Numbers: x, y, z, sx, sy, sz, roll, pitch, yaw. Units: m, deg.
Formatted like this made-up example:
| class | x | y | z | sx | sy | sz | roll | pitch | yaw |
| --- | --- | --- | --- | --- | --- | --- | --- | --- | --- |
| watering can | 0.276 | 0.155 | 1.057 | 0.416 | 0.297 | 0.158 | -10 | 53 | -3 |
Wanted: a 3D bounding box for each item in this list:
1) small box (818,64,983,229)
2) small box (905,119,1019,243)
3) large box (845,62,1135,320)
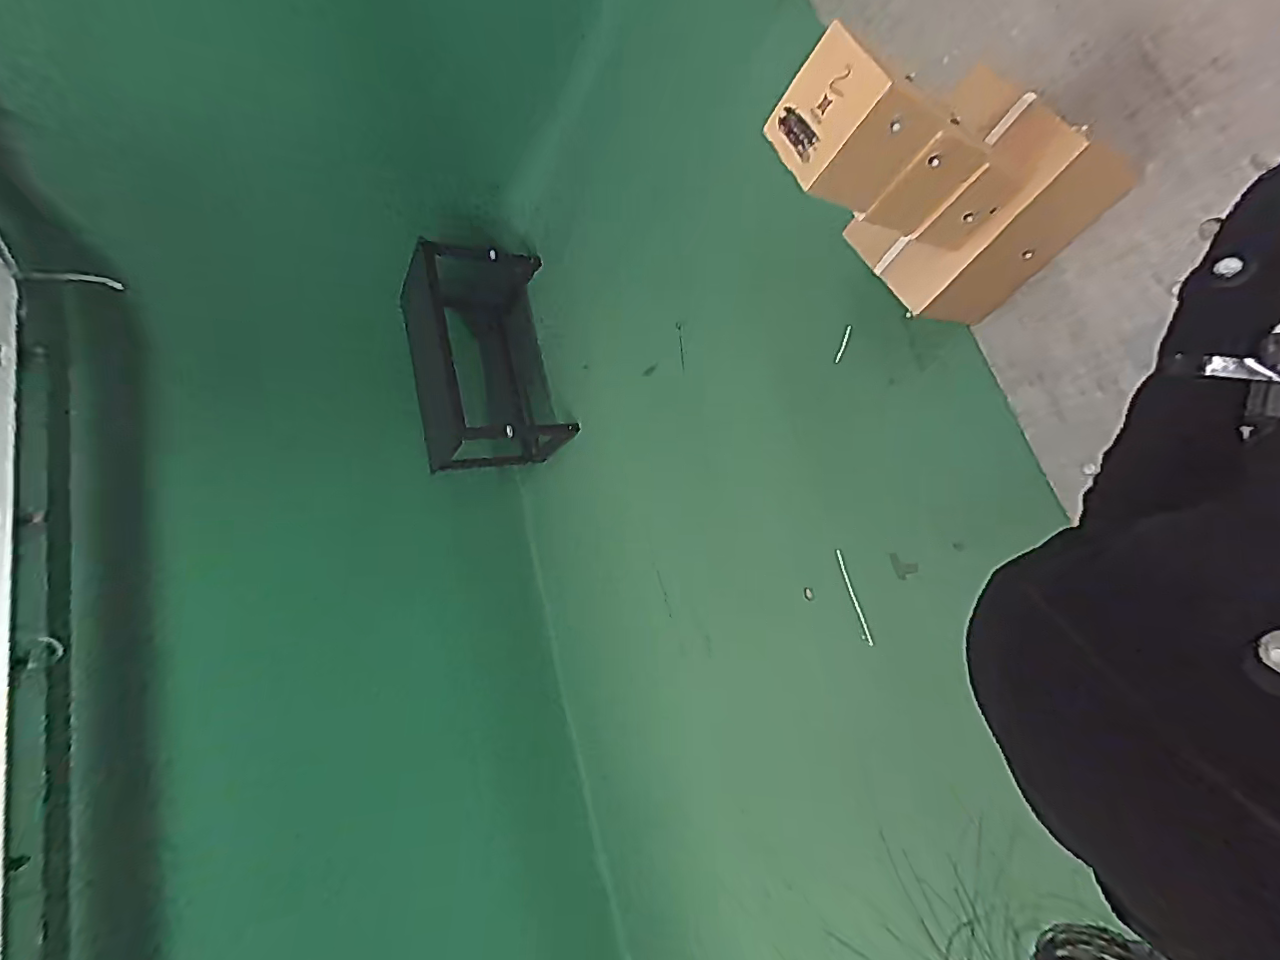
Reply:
| class | x | y | z | sx | sy | sz | roll | pitch | yaw |
| --- | --- | --- | --- | --- | --- | --- | --- | --- | --- |
| small box | 0.469 | -0.588 | 0.980 | 0.179 | 0.176 | 0.168 | -45 | 59 | 47 |
| small box | 0.601 | -0.596 | 1.073 | 0.168 | 0.176 | 0.179 | -47 | 58 | 47 |
| large box | 0.778 | -0.630 | 1.245 | 0.408 | 0.320 | 0.320 | -55 | 51 | 45 |
